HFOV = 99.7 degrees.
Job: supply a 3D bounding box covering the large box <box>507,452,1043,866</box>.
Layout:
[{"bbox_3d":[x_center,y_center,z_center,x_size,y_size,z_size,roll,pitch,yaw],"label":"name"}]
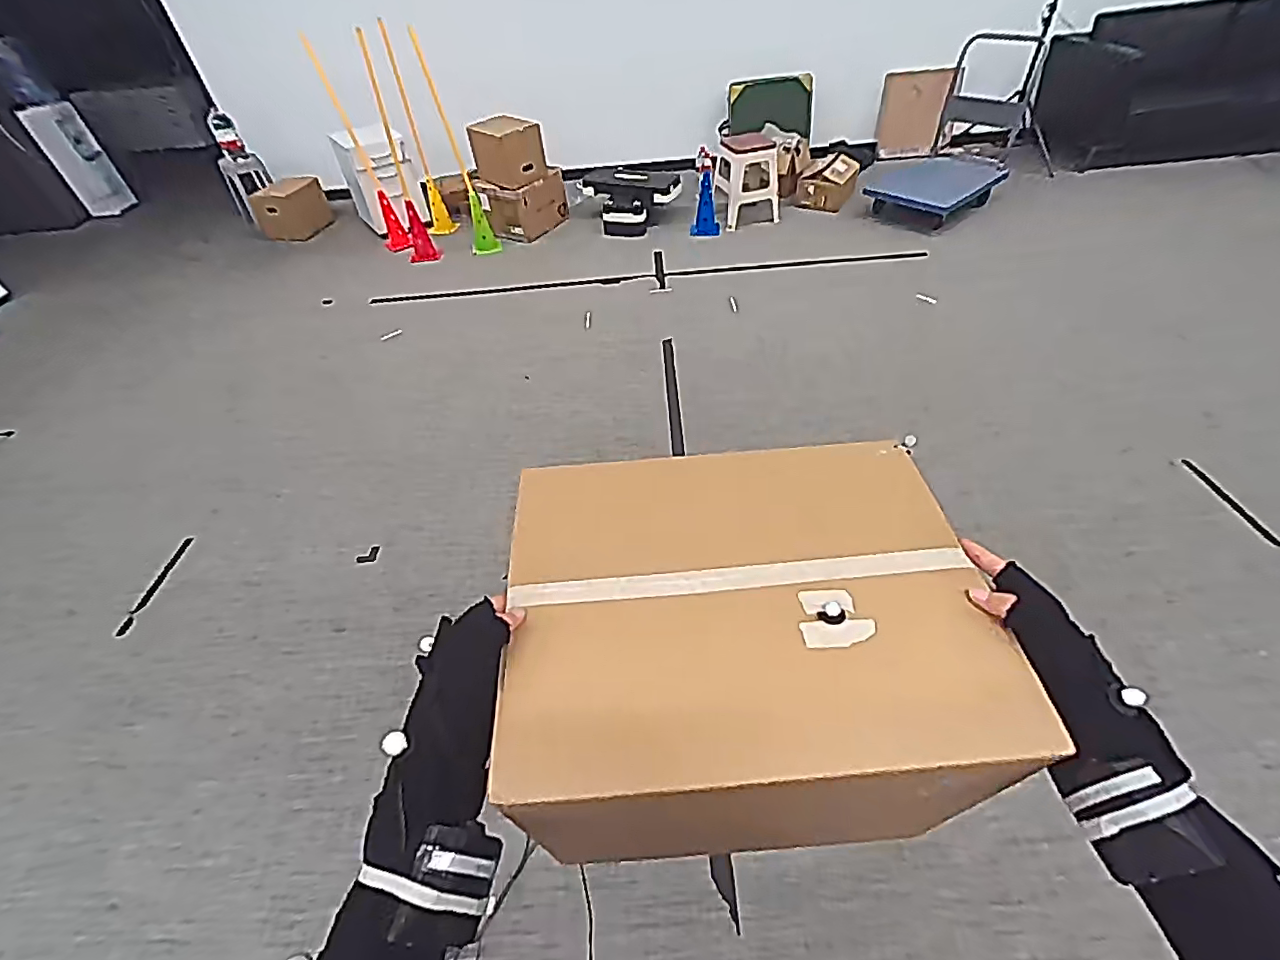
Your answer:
[{"bbox_3d":[0.093,0.199,0.597,0.408,0.320,0.320,-5,48,-1],"label":"large box"}]
